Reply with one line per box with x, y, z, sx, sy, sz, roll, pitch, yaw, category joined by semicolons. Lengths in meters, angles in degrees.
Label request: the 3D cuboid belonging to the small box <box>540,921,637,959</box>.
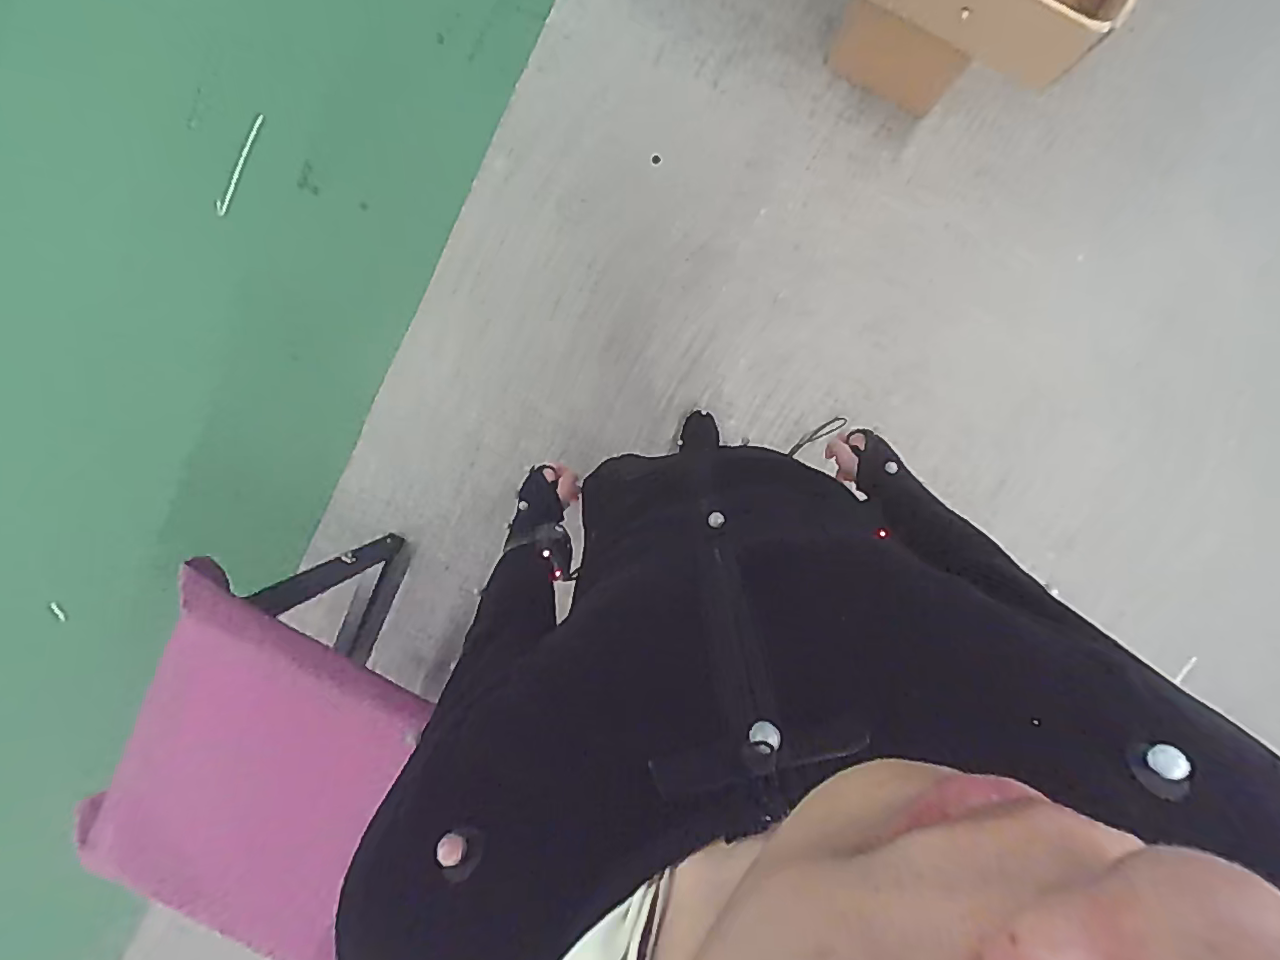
-0.110;0.925;0.924;0.168;0.176;0.179;28;98;-1;small box
